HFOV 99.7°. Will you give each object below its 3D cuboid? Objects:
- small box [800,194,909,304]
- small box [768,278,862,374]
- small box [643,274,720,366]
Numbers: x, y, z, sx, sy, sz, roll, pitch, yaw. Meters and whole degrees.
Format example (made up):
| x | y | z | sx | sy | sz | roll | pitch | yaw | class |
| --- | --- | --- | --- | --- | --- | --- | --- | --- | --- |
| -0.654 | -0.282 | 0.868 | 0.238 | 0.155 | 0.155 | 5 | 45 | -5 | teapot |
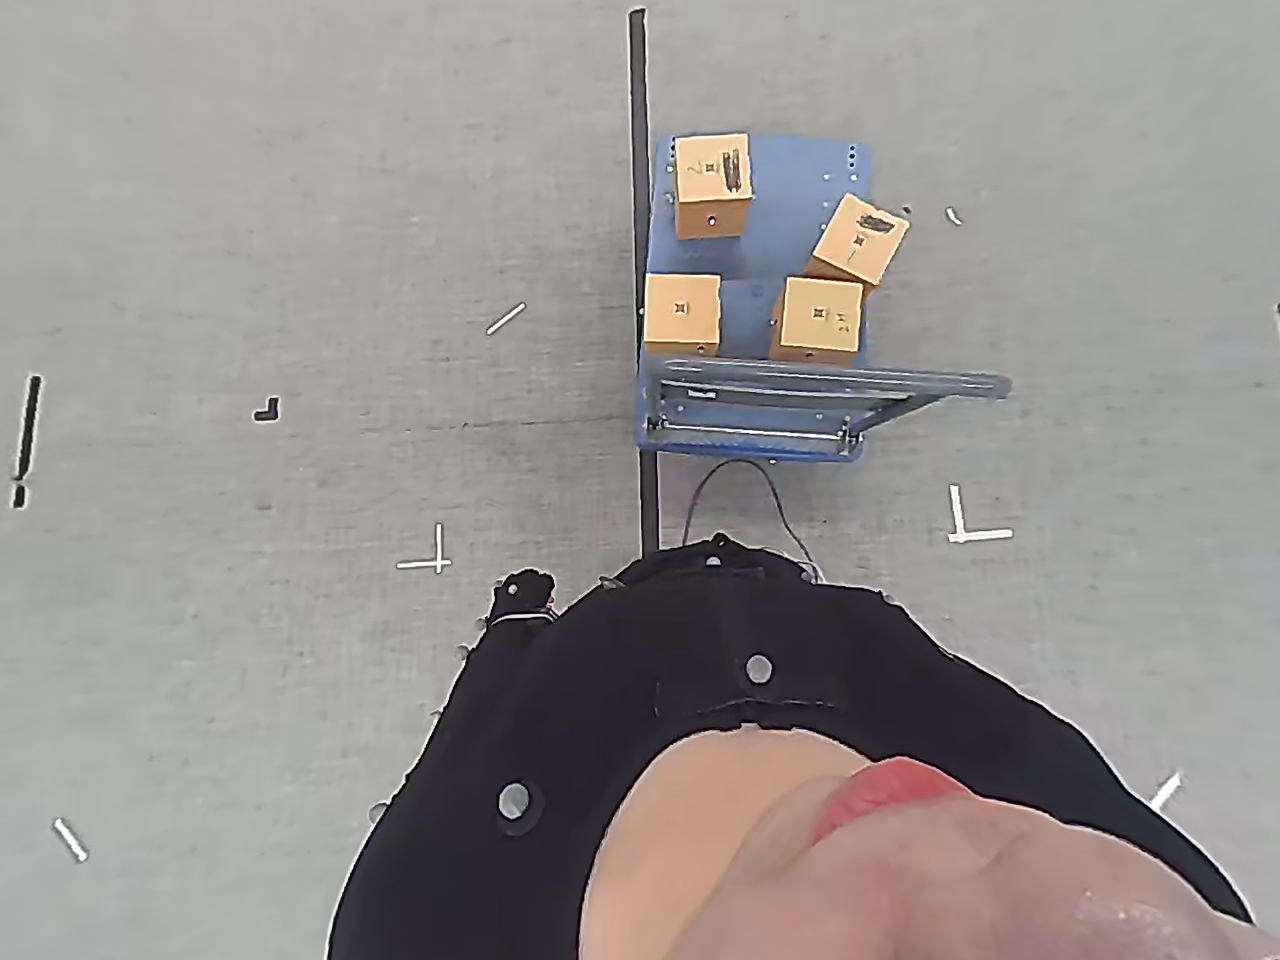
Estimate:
| x | y | z | sx | sy | sz | roll | pitch | yaw | class |
| --- | --- | --- | --- | --- | --- | --- | --- | --- | --- |
| 0.512 | -0.546 | 1.325 | 0.168 | 0.176 | 0.179 | 29 | 86 | 5 | small box |
| 0.415 | -0.366 | 1.308 | 0.179 | 0.176 | 0.168 | 7 | 84 | 3 | small box |
| 0.099 | -0.385 | 1.324 | 0.179 | 0.176 | 0.168 | 2 | 84 | 1 | small box |
